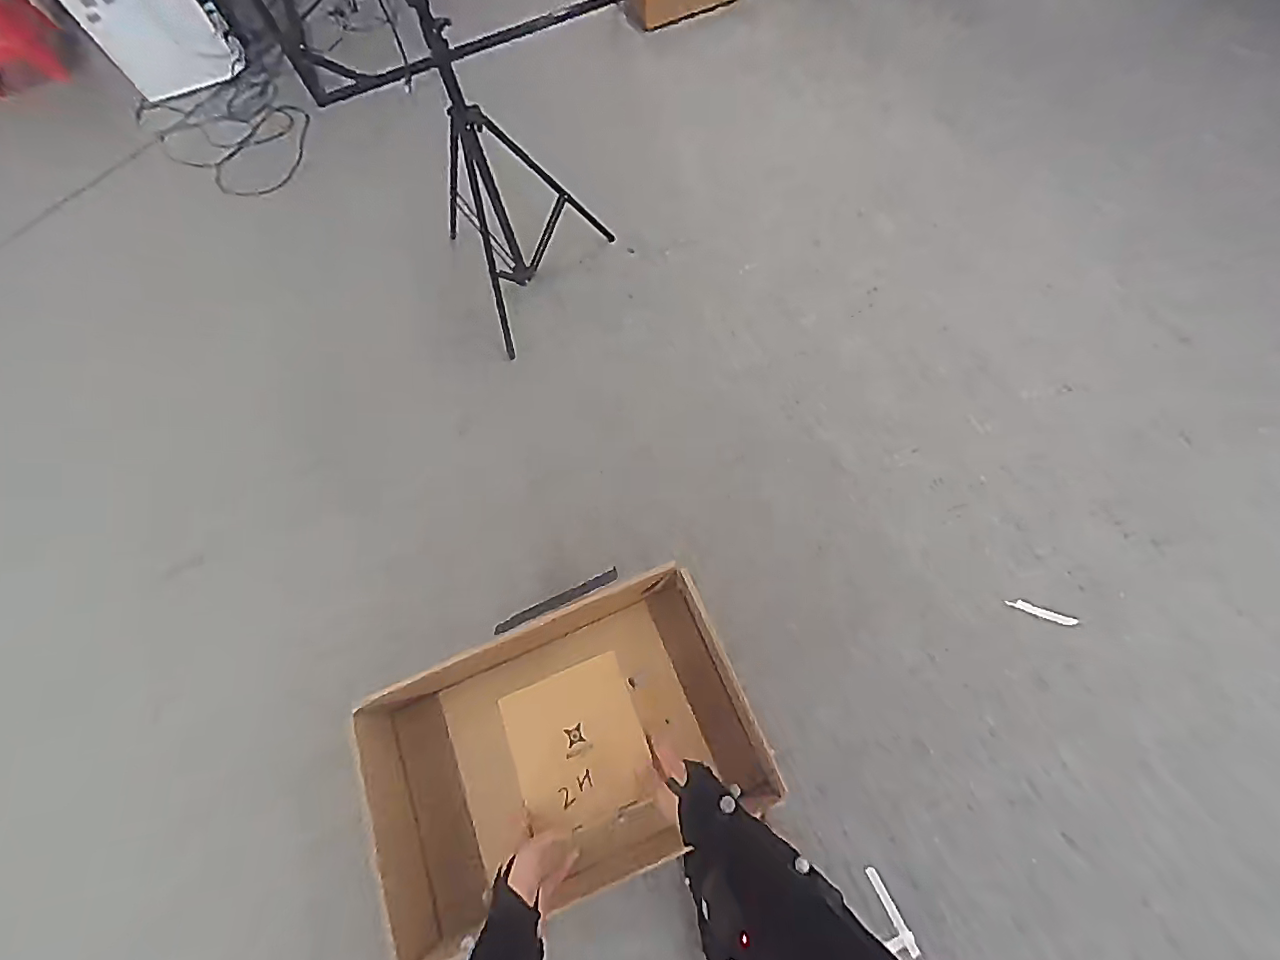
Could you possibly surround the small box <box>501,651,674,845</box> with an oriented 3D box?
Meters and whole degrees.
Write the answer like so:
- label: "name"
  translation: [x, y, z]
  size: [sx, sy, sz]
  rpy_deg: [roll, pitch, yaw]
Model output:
- label: "small box"
  translation: [-0.064, 0.352, 0.737]
  size: [0.168, 0.176, 0.179]
  rpy_deg: [-24, 68, 0]
